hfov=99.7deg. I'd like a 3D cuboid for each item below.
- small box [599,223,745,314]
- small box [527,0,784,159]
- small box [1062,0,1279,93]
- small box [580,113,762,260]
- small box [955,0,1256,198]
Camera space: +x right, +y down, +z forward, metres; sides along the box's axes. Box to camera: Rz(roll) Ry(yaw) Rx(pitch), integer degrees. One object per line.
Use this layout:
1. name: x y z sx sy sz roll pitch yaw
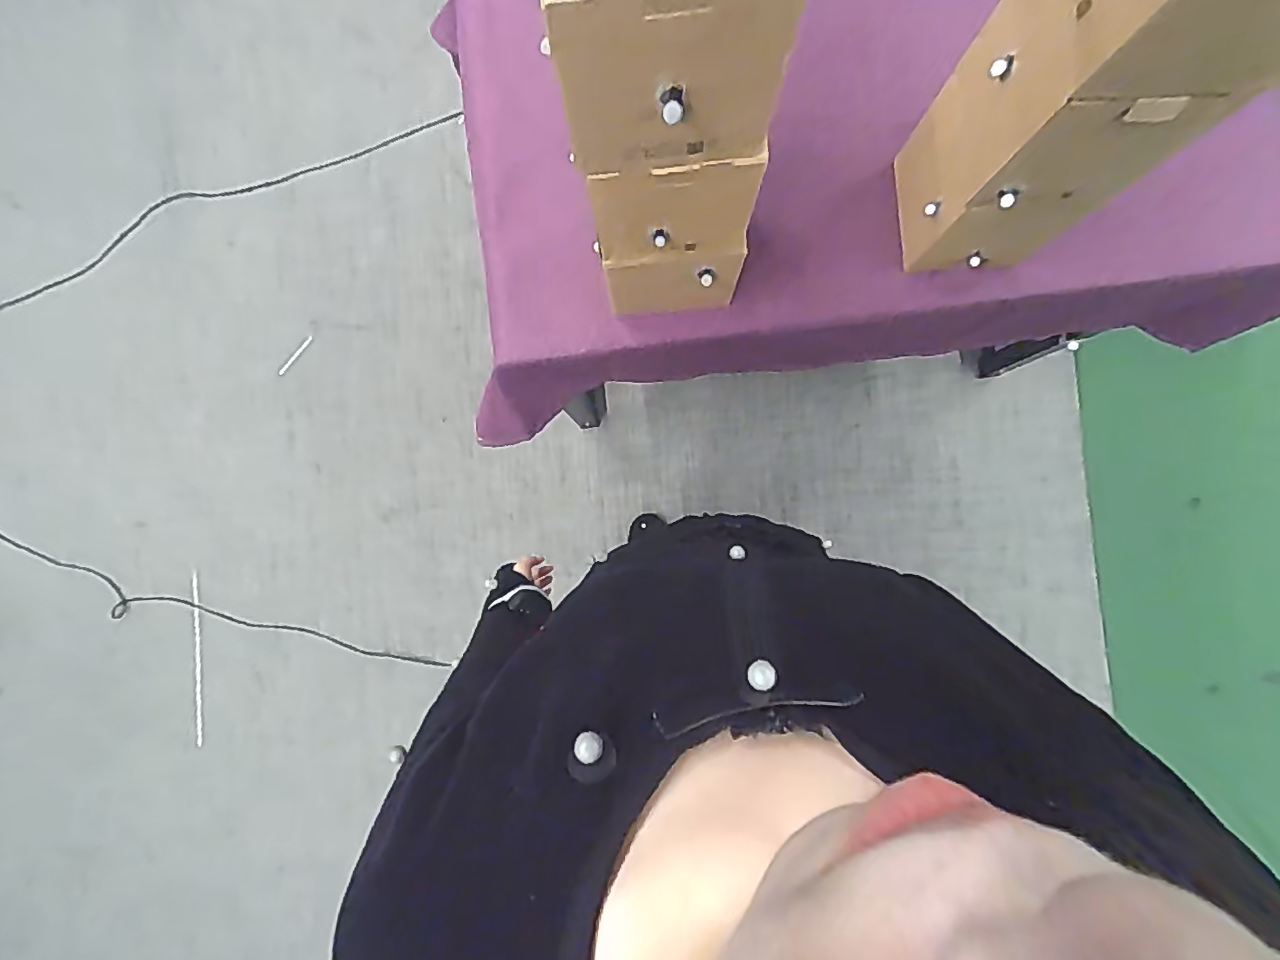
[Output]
1. small box: 0.037 -0.338 0.729 0.179 0.176 0.168 -4 85 3
2. small box: 0.010 -0.371 0.404 0.168 0.176 0.179 -6 87 2
3. small box: 0.442 -0.413 0.385 0.179 0.176 0.168 0 88 2
4. small box: 0.026 -0.358 0.568 0.168 0.176 0.179 -4 87 2
5. small box: 0.447 -0.409 0.548 0.168 0.176 0.179 -1 86 3
